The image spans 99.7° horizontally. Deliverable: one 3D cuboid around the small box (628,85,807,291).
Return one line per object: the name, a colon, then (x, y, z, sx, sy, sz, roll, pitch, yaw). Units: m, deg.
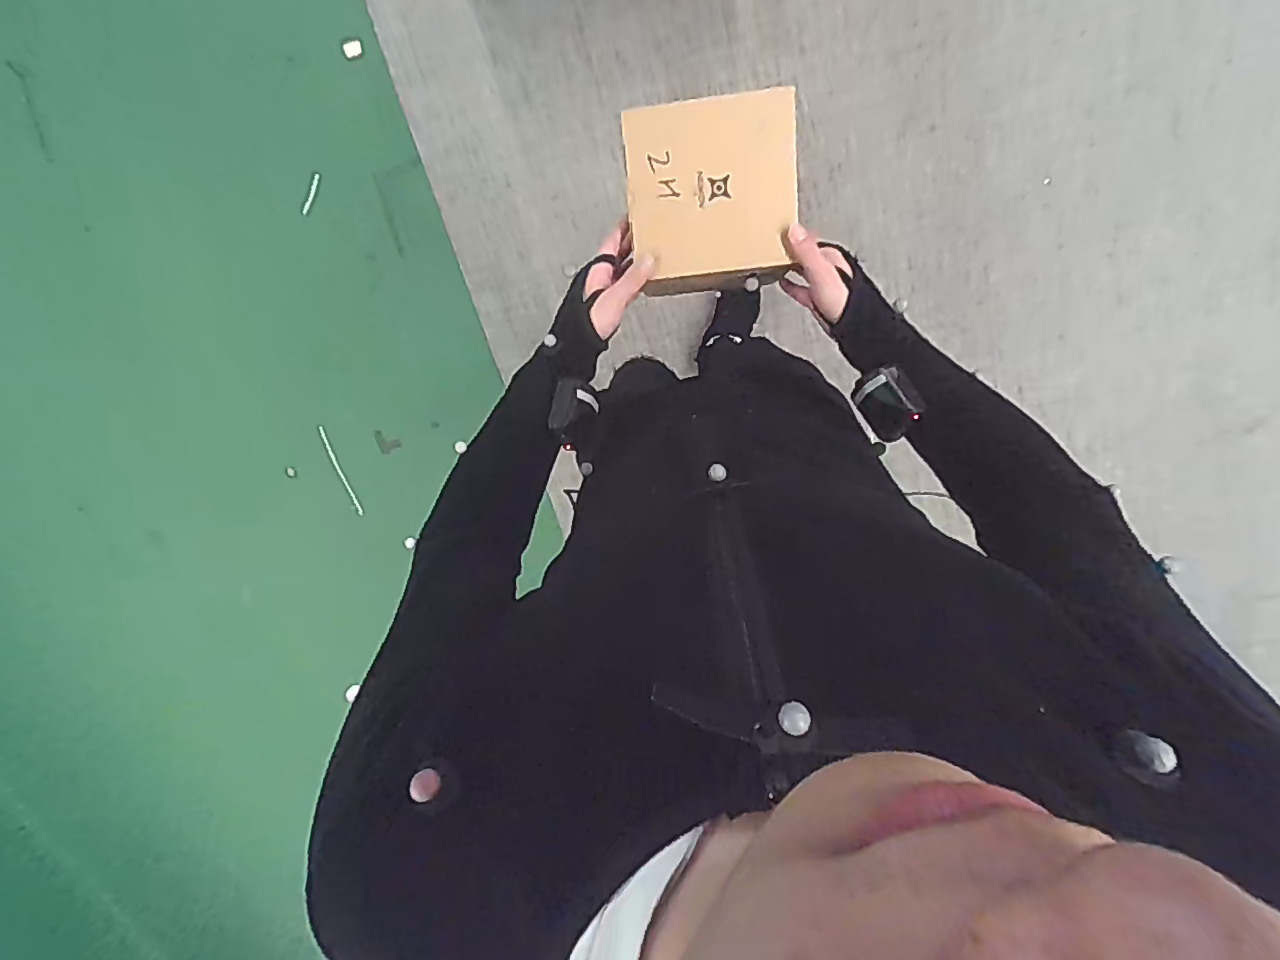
small box: (0.086, -0.318, 0.626, 0.179, 0.176, 0.168, -4, 103, 6)
